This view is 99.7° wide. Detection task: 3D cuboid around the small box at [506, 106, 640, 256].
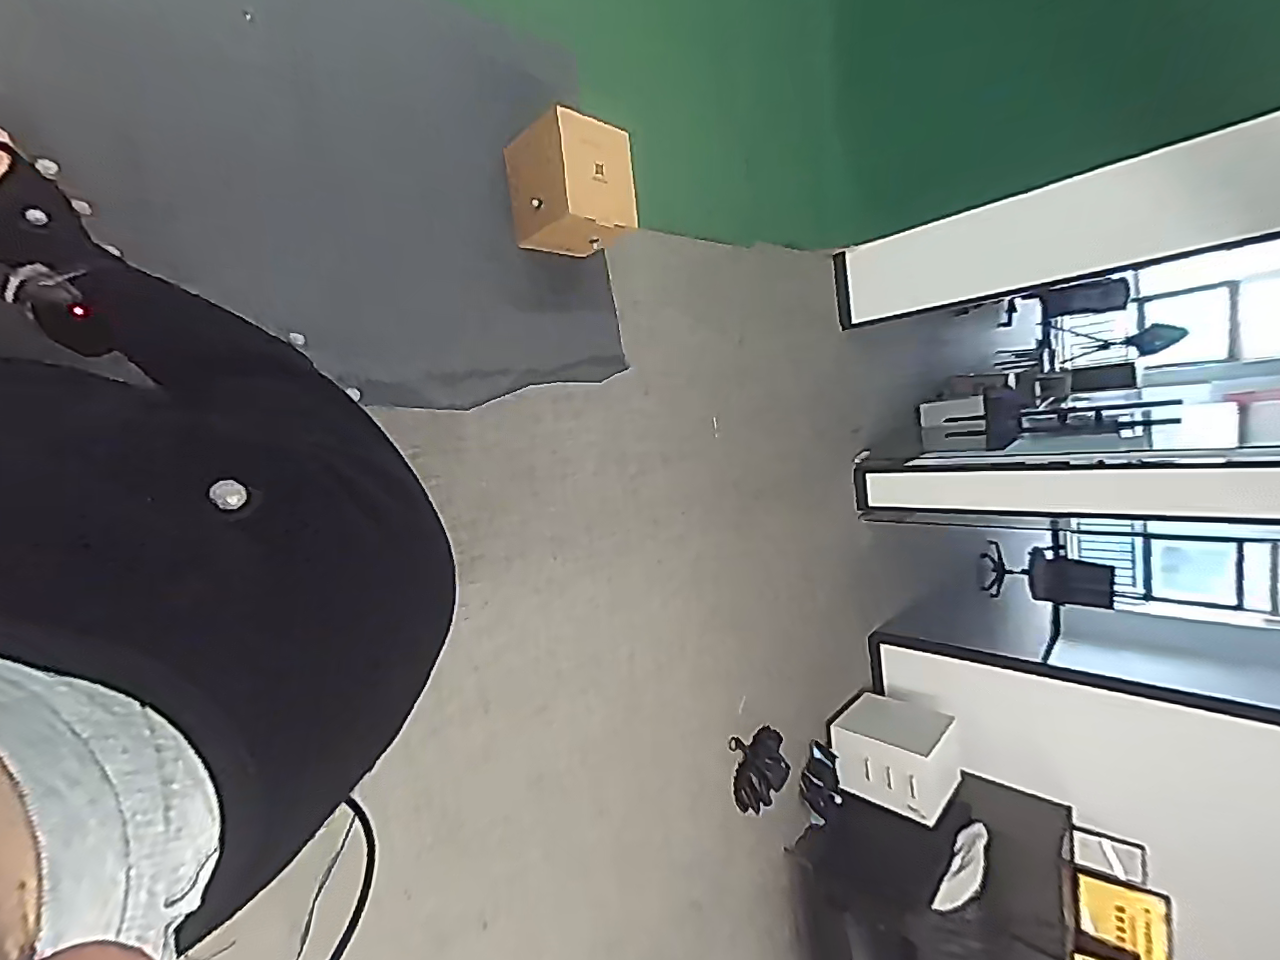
[{"bbox_3d":[-0.124,-0.528,0.989,0.168,0.176,0.179,-13,97,-44],"label":"small box"}]
